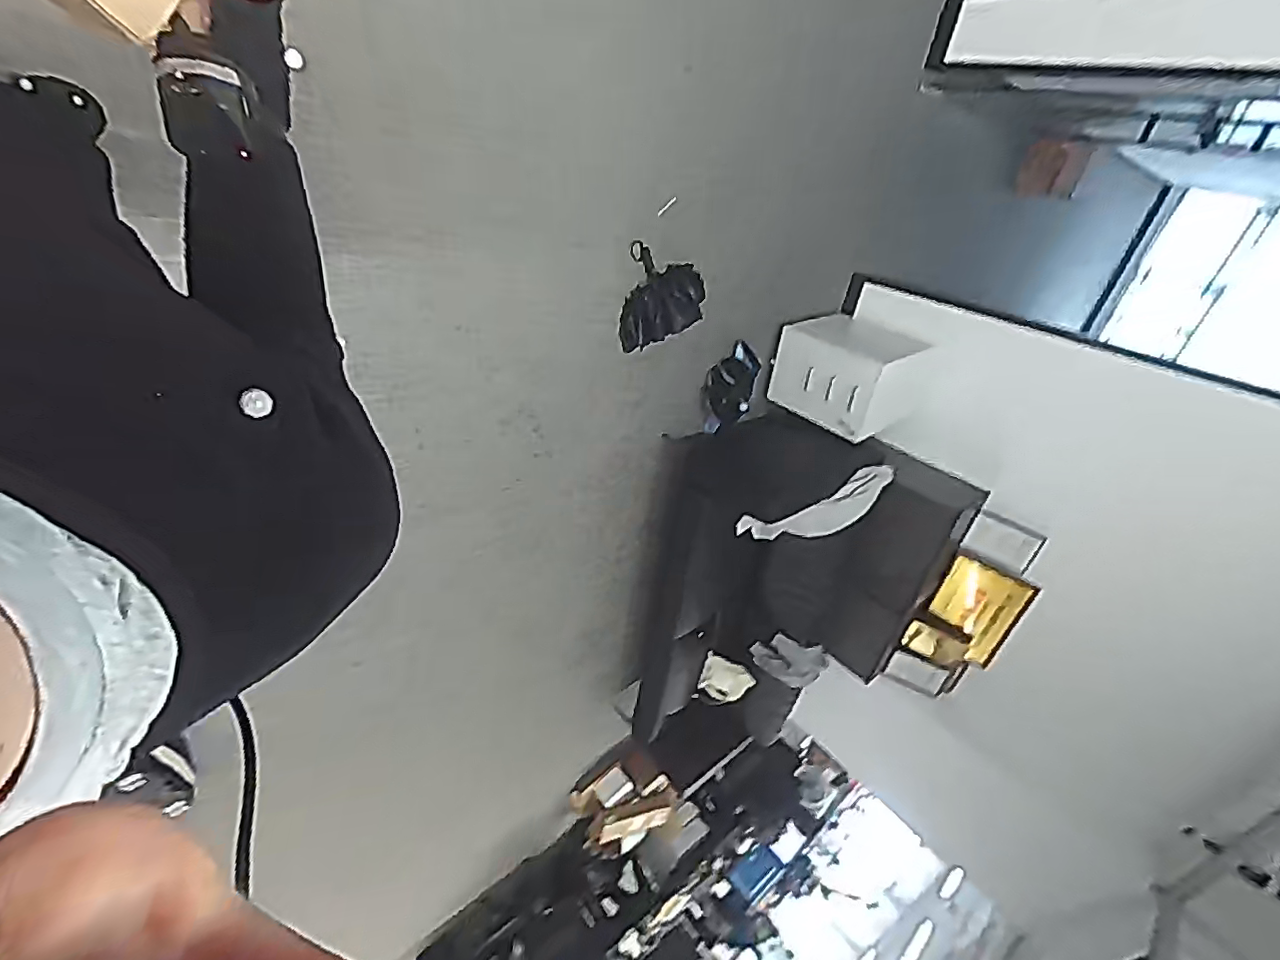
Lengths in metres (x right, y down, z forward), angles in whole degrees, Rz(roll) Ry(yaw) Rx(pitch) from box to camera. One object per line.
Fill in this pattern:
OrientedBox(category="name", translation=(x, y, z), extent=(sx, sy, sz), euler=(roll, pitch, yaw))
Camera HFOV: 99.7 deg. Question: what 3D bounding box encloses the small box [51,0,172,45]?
OrientedBox(category="small box", translation=(-0.333, -0.383, 0.278), extent=(0.179, 0.176, 0.168), euler=(-56, 156, 0))
